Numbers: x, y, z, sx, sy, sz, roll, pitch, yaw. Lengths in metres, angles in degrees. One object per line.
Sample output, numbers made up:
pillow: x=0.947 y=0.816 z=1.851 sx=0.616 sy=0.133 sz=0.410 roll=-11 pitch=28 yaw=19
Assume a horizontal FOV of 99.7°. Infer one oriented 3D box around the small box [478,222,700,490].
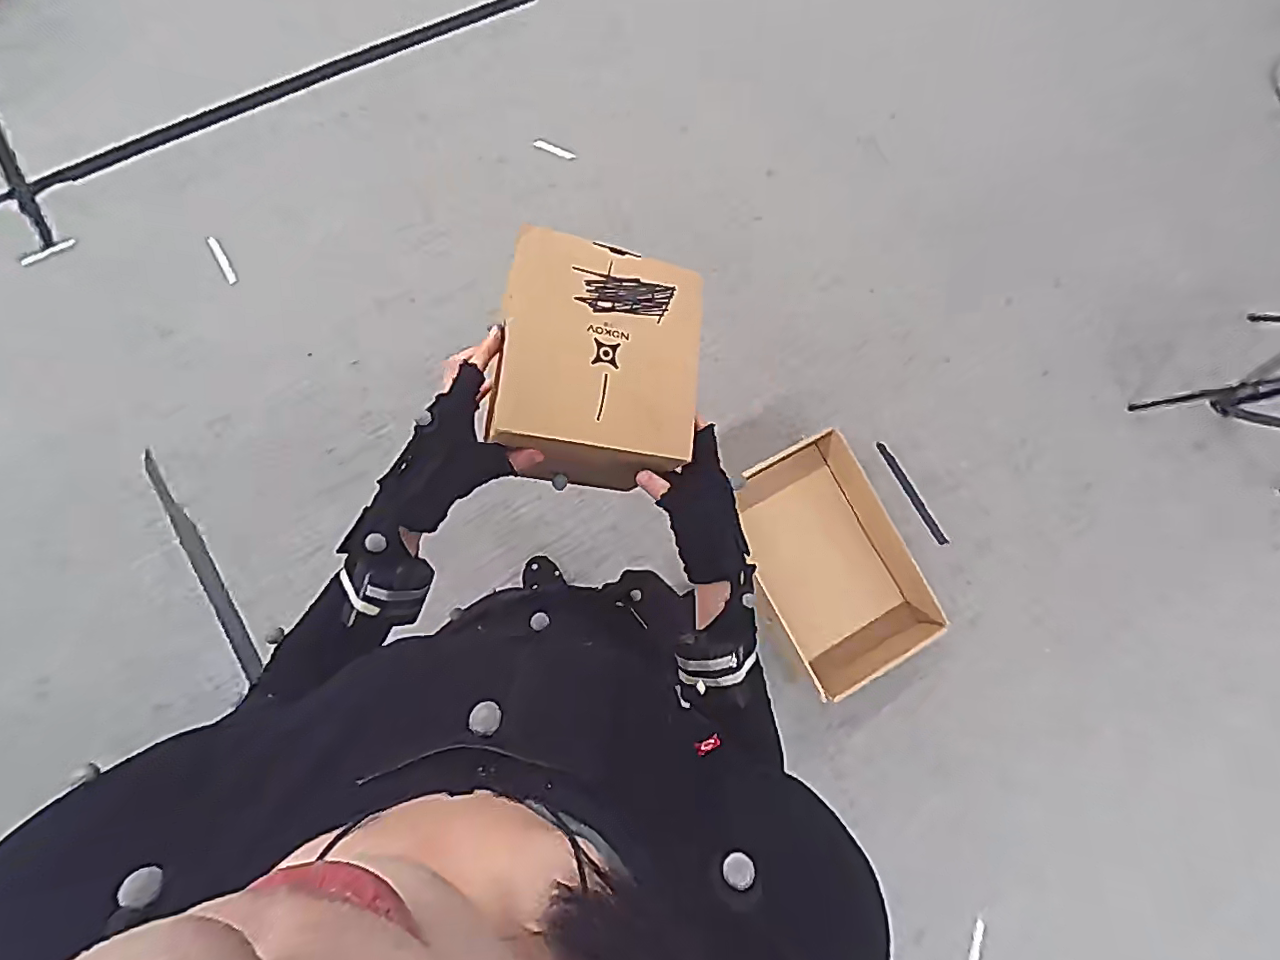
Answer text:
small box: x=-0.056 y=-0.098 z=0.513 sx=0.168 sy=0.176 sz=0.179 roll=8 pitch=77 yaw=-19
